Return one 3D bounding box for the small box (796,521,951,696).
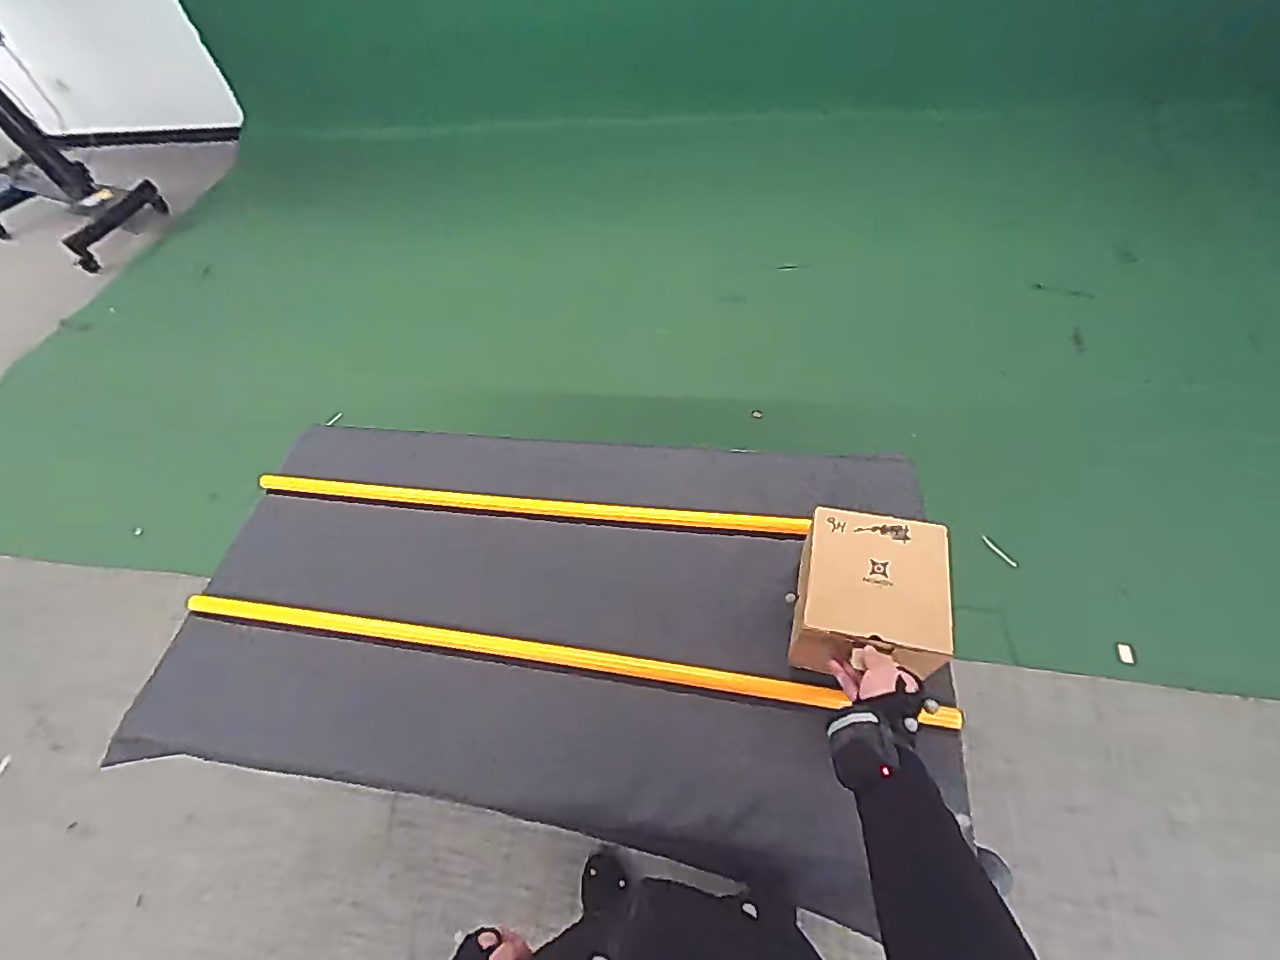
[{"bbox_3d":[0.309,0.181,0.745,0.168,0.176,0.179,6,56,14],"label":"small box"}]
